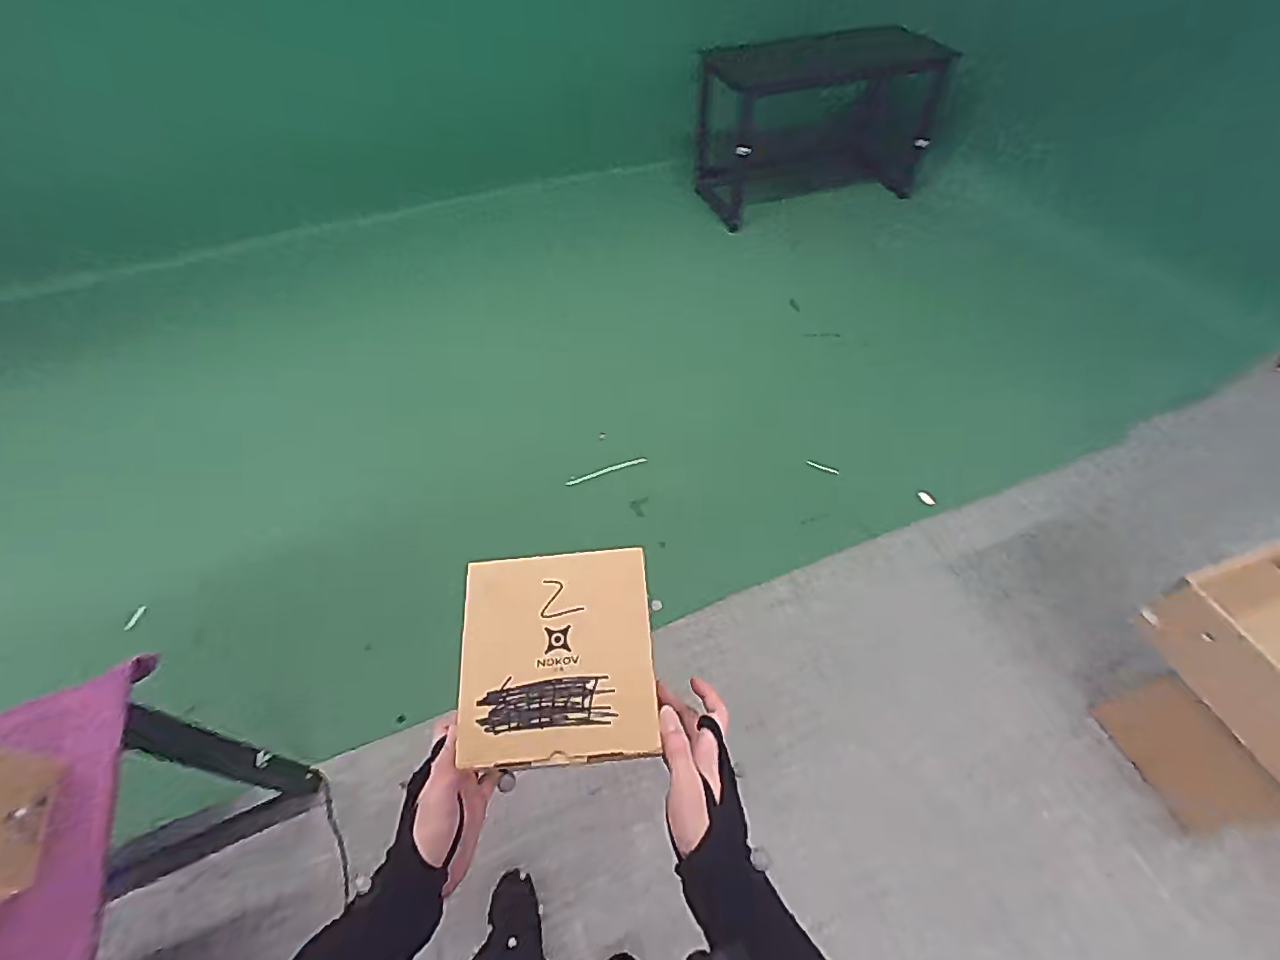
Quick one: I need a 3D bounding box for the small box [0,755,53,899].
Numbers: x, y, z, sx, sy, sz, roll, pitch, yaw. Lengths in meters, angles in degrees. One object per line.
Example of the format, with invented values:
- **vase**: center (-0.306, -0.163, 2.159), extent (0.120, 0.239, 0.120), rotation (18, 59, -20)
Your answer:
- **small box**: center (-0.923, 0.459, 0.675), extent (0.179, 0.176, 0.168), rotation (-18, 54, -11)
